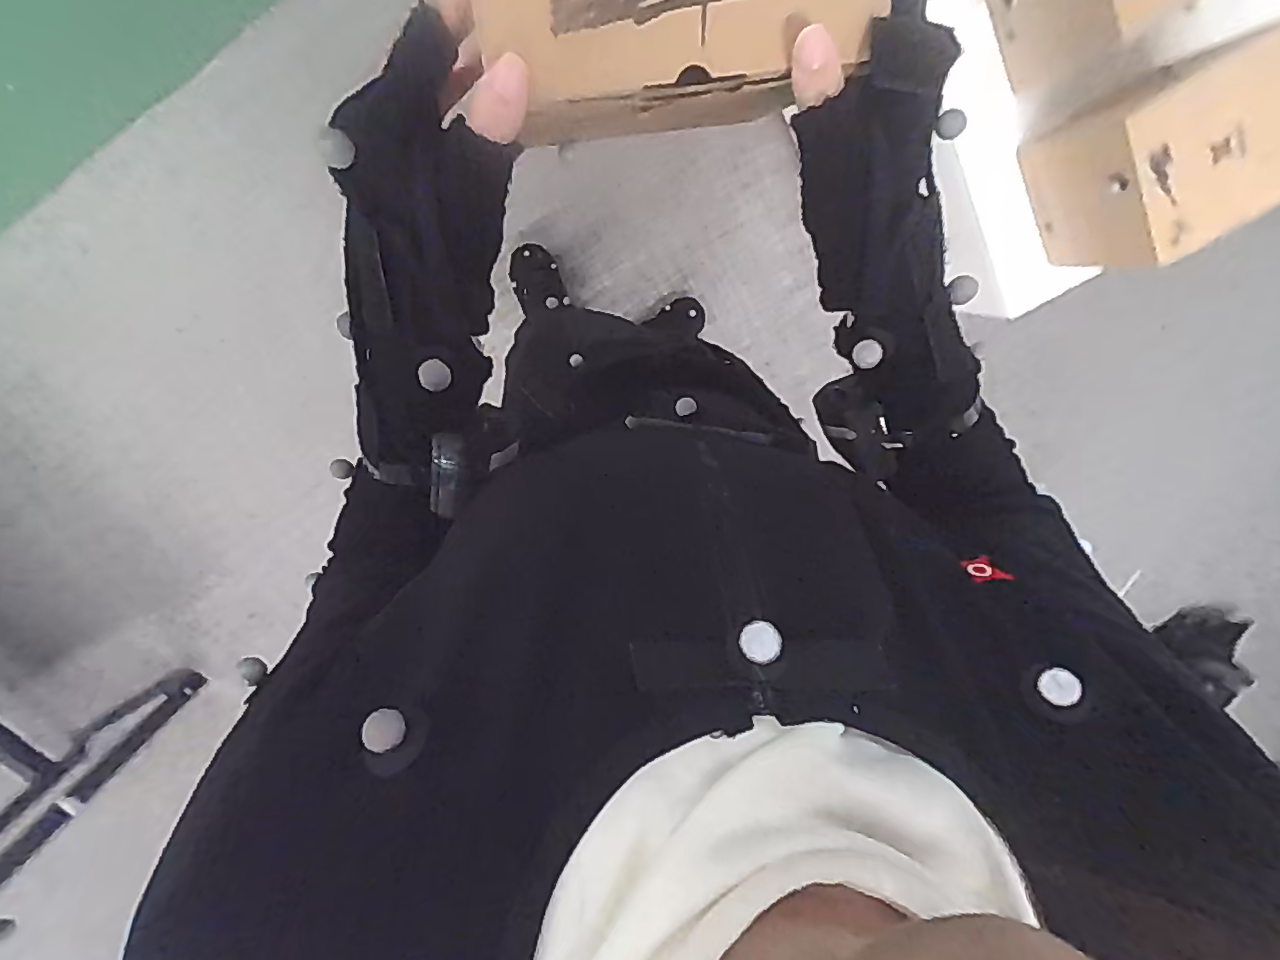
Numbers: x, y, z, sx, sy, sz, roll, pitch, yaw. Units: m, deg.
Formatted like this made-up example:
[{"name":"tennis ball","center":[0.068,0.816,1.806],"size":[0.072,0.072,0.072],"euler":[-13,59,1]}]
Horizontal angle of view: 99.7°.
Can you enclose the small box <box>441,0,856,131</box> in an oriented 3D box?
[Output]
[{"name":"small box","center":[-0.010,-0.277,0.252],"size":[0.168,0.176,0.179],"euler":[-10,117,-4]}]

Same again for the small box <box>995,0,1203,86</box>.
[{"name":"small box","center":[0.490,-0.542,0.533],"size":[0.179,0.176,0.168],"euler":[-30,109,12]}]

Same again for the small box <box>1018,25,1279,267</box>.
[{"name":"small box","center":[0.589,-0.365,0.619],"size":[0.179,0.176,0.168],"euler":[-29,109,10]}]
